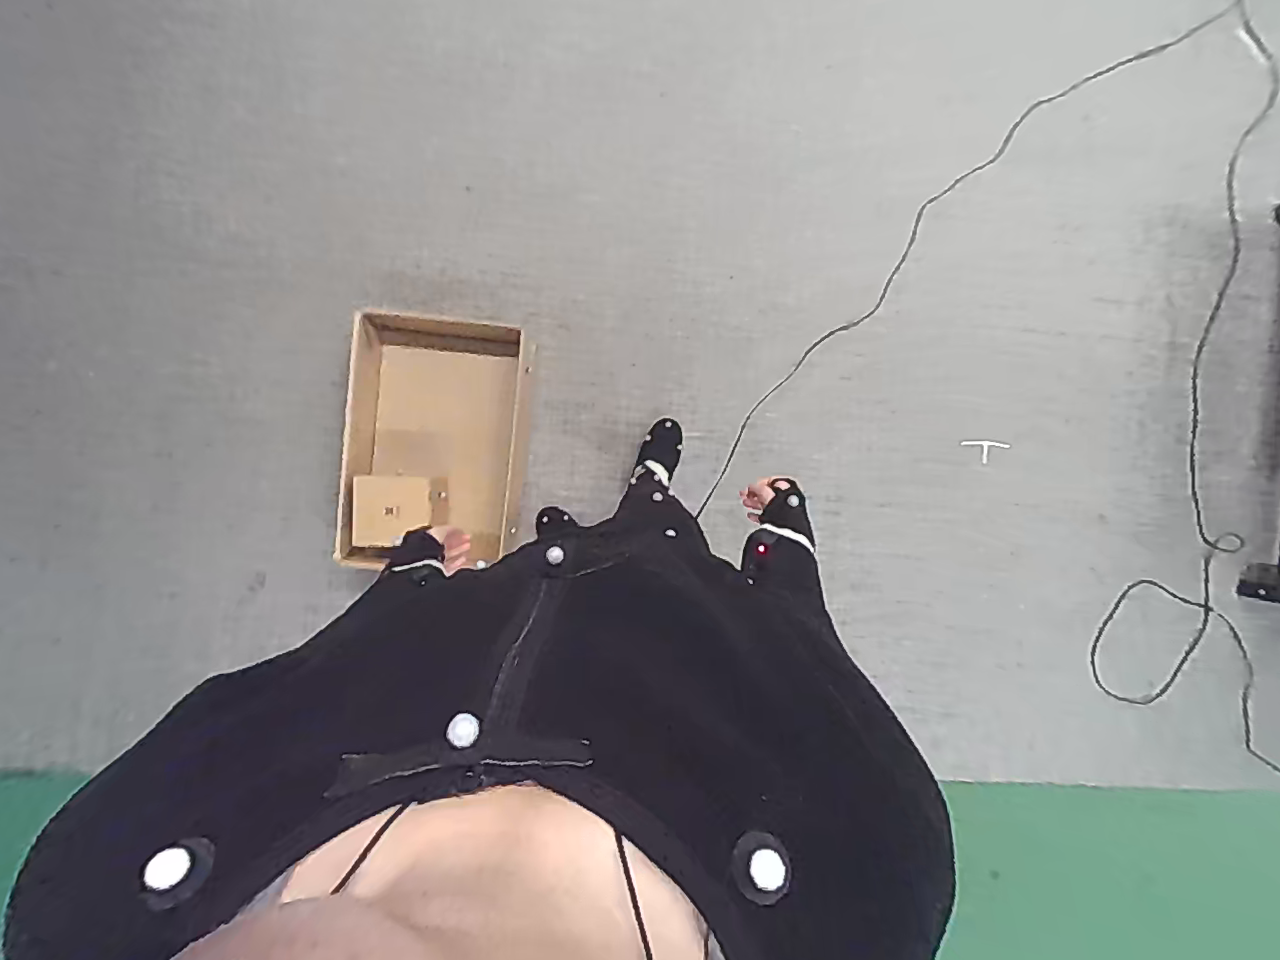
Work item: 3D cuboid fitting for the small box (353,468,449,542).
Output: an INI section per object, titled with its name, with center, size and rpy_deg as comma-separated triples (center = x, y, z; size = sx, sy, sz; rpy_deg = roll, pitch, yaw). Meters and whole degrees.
[small box]
center = -0.584, 0.058, 1.341
size = 0.179, 0.176, 0.168
rpy_deg = 3, 92, -4
